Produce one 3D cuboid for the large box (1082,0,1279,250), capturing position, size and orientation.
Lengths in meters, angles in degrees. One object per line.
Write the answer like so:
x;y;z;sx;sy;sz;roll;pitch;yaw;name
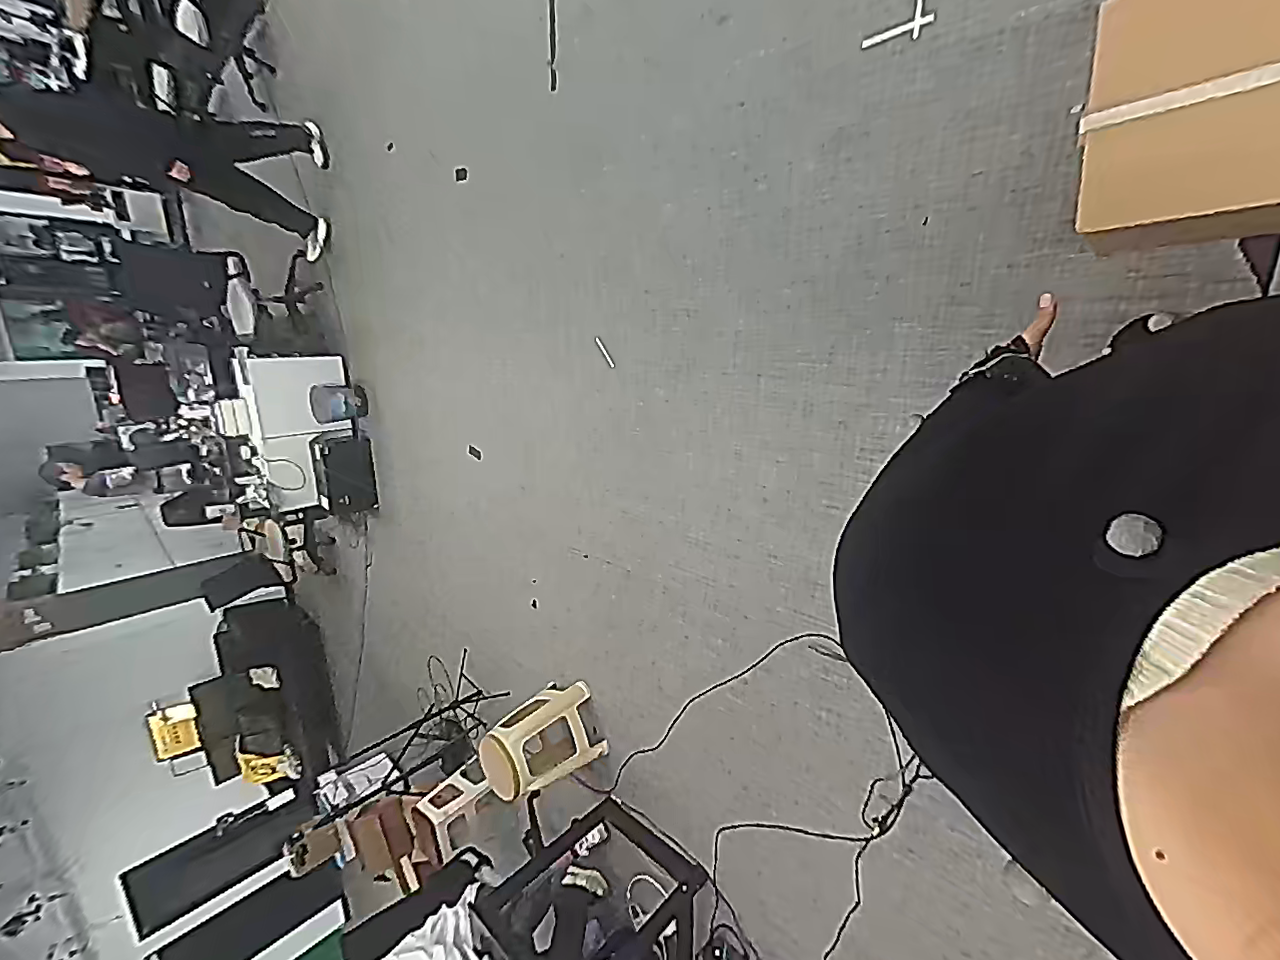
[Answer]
0.908;-0.540;0.766;0.408;0.320;0.320;9;107;42;large box
